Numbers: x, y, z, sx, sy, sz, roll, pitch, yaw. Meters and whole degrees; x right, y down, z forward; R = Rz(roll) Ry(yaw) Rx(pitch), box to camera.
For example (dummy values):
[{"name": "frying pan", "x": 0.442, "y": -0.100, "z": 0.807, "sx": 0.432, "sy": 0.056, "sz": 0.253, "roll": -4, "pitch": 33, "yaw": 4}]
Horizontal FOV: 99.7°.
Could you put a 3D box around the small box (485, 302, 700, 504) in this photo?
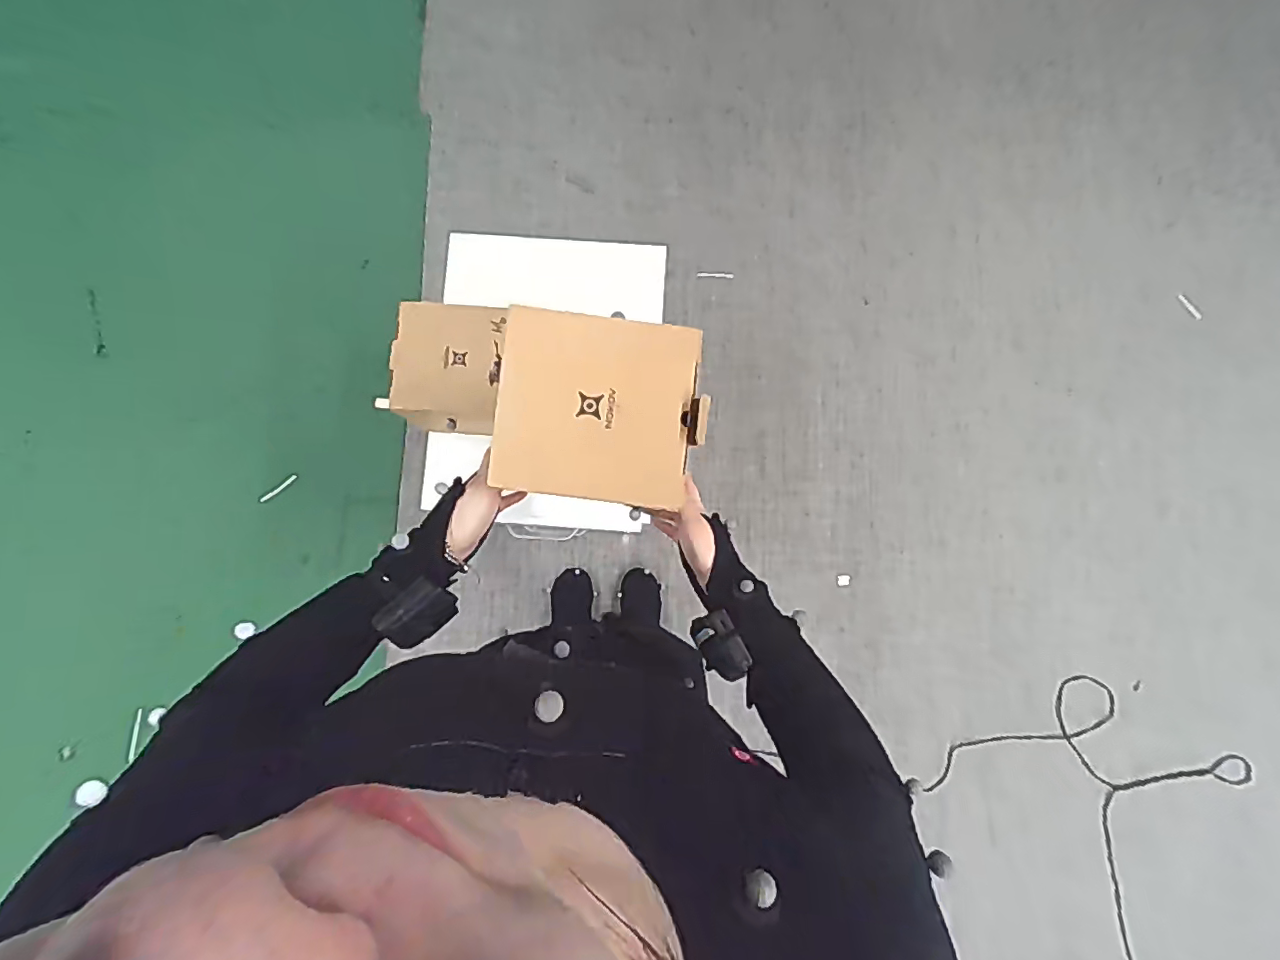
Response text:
[{"name": "small box", "x": -0.044, "y": -0.066, "z": 0.558, "sx": 0.179, "sy": 0.176, "sz": 0.168, "roll": 7, "pitch": 89, "yaw": -2}]

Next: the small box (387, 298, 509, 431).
[{"name": "small box", "x": -0.275, "y": -0.175, "z": 0.868, "sx": 0.179, "sy": 0.176, "sz": 0.168, "roll": 3, "pitch": 84, "yaw": -1}]
